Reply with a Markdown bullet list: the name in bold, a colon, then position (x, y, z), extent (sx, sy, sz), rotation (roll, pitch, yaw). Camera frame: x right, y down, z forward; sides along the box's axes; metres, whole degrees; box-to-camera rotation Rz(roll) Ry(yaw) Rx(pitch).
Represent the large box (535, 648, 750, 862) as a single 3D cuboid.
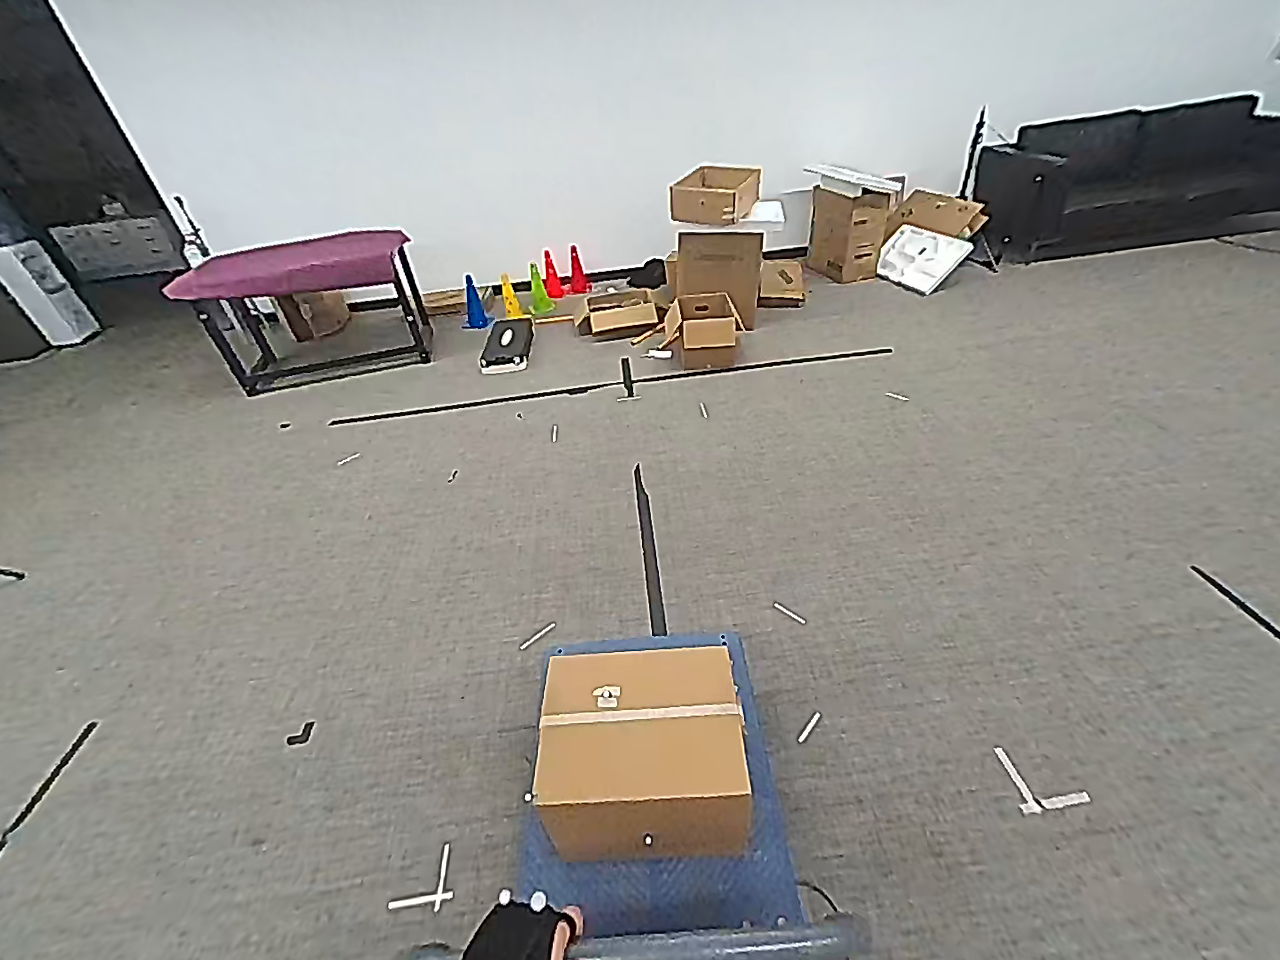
- **large box**: position (0.016, 0.608, 1.198), extent (0.408, 0.320, 0.320), rotation (-6, 37, 3)
